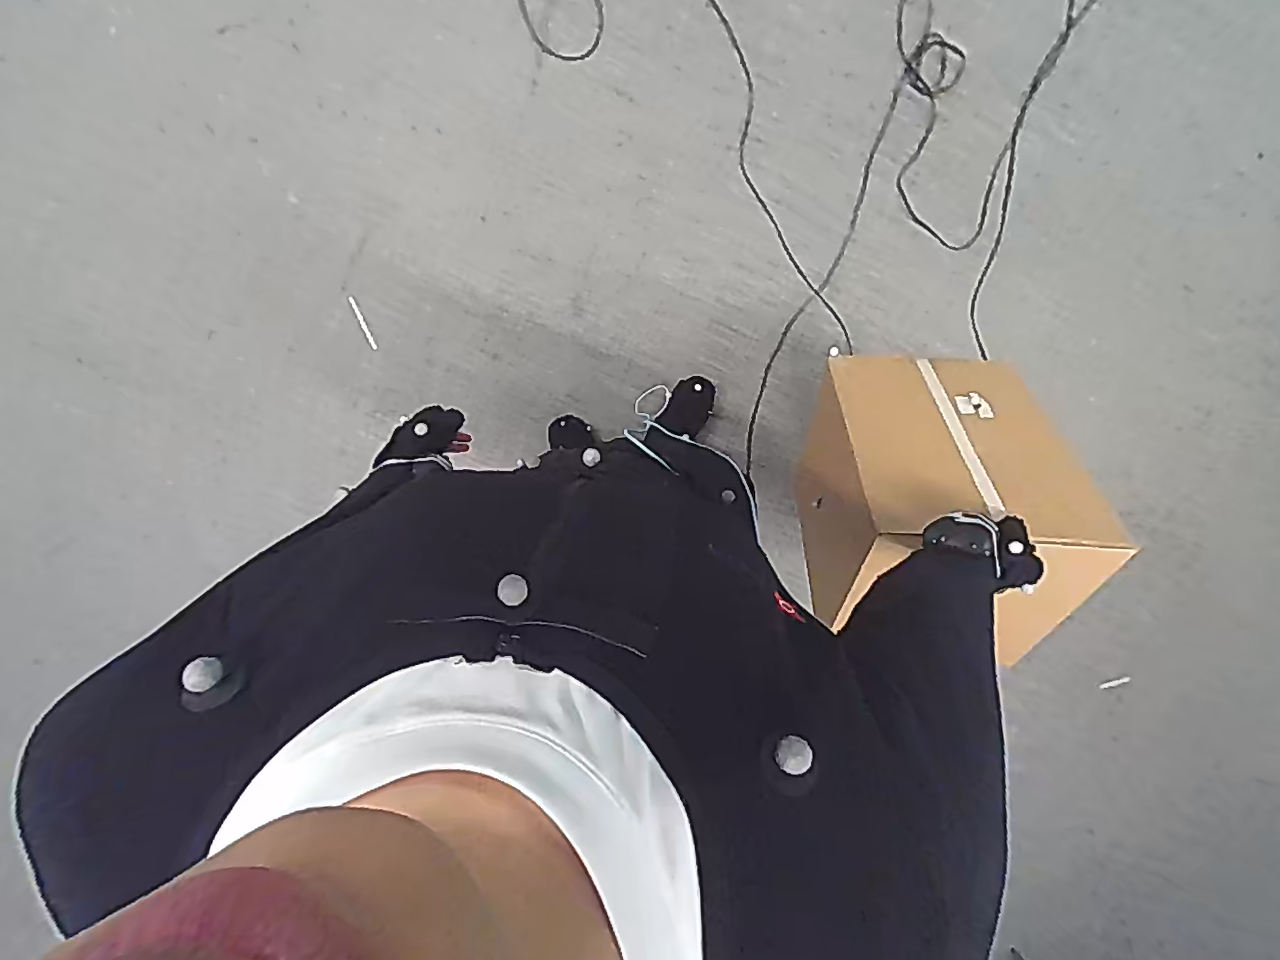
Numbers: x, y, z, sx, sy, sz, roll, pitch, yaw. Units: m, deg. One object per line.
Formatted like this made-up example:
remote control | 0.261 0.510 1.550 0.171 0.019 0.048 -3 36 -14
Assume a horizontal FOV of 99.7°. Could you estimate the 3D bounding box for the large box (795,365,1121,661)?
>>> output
large box | 0.469 0.049 0.926 0.320 0.408 0.320 5 135 3
